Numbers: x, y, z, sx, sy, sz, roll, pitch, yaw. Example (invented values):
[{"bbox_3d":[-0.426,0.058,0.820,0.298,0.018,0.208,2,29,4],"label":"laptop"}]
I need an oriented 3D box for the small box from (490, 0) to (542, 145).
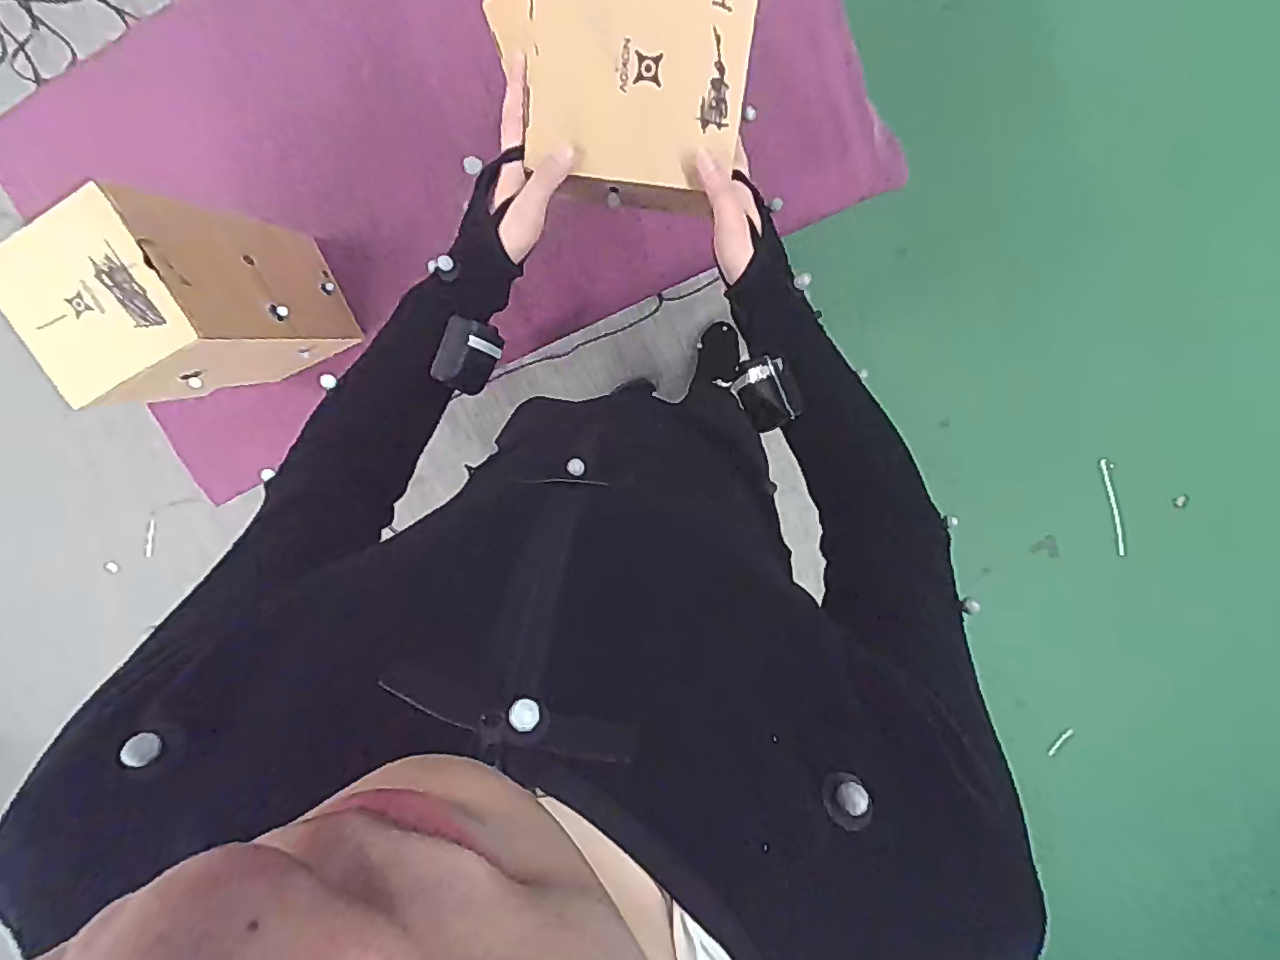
[{"bbox_3d":[-0.059,-0.492,0.688,0.179,0.176,0.168,-17,103,8],"label":"small box"}]

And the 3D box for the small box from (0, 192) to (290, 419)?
[{"bbox_3d":[-0.543,-0.189,0.614,0.179,0.176,0.168,-25,102,8],"label":"small box"}]

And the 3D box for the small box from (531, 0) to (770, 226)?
[{"bbox_3d":[0.006,-0.344,0.507,0.179,0.176,0.168,7,109,-2],"label":"small box"}]
